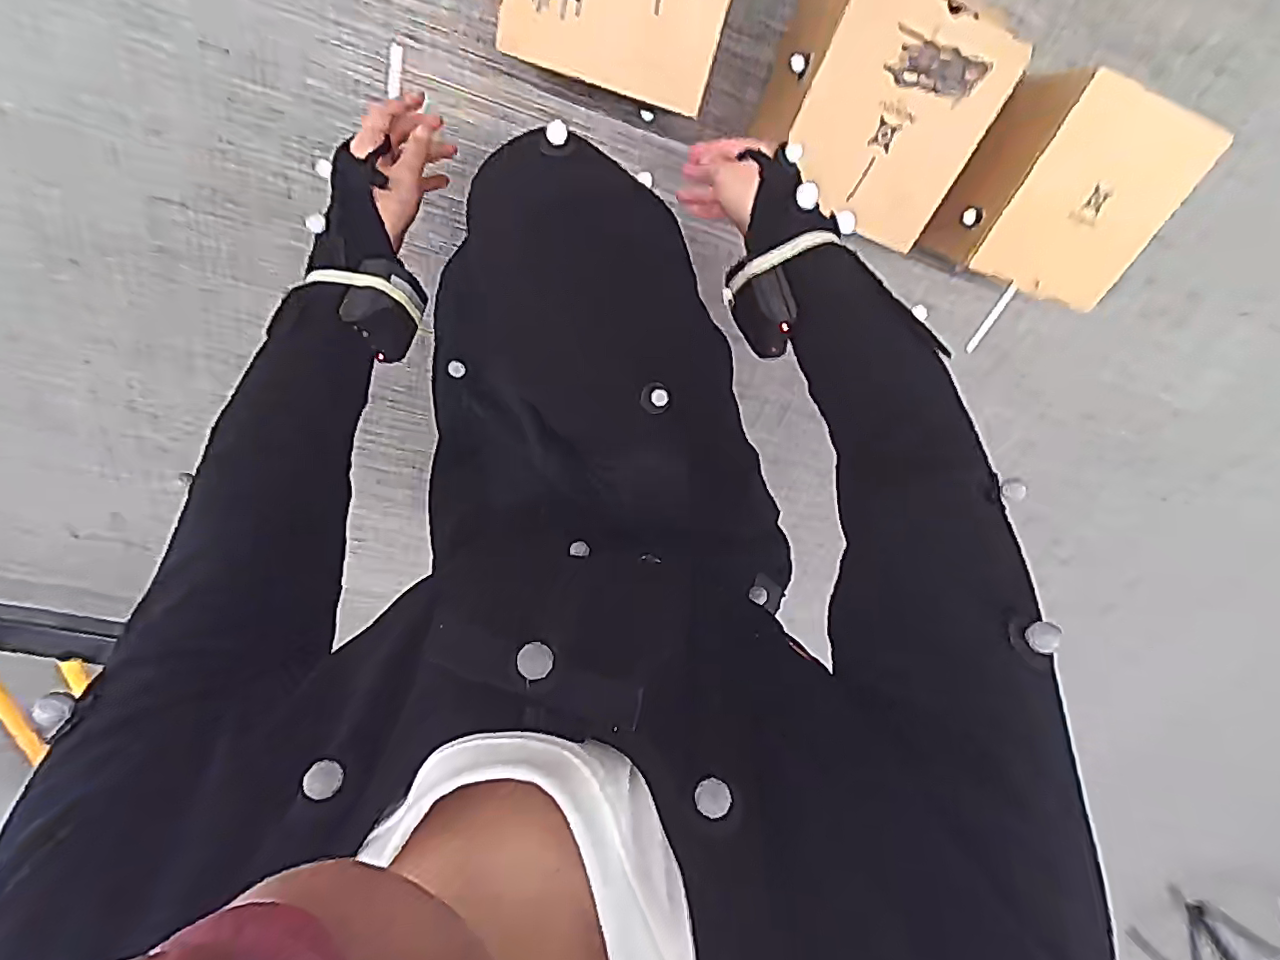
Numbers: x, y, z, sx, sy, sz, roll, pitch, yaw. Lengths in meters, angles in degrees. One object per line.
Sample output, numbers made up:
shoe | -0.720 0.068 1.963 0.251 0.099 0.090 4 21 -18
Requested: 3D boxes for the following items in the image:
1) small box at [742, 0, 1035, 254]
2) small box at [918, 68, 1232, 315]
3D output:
small box | 0.219 -0.359 0.536 0.168 0.176 0.179 16 125 -14
small box | 0.436 -0.311 0.586 0.168 0.176 0.179 14 125 -13
